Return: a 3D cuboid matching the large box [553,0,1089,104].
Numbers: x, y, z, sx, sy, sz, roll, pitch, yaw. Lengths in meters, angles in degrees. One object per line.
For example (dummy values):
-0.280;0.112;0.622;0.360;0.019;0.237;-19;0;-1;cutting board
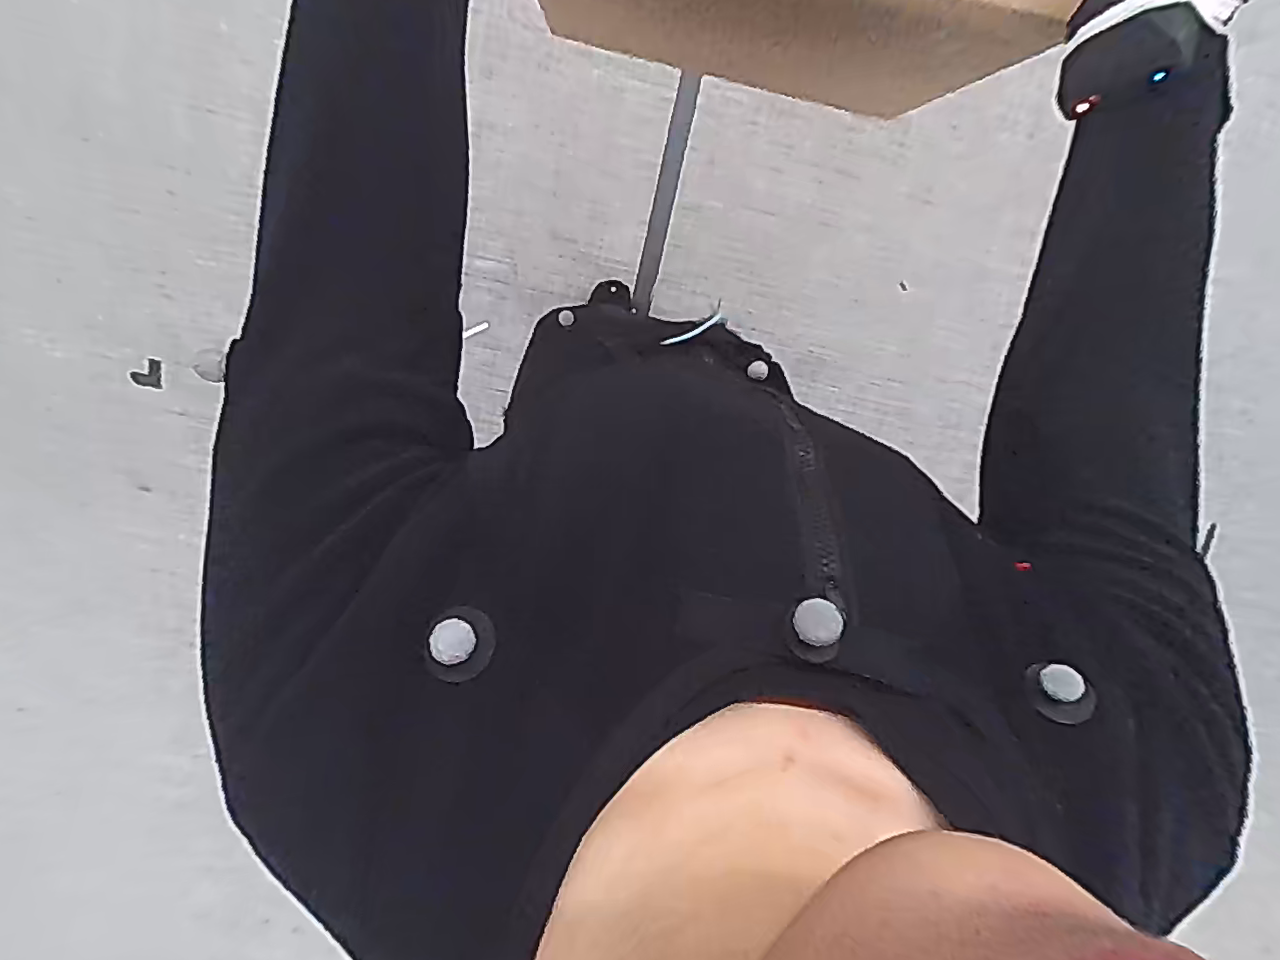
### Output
0.133;-0.545;0.421;0.408;0.320;0.320;10;115;-6;large box
